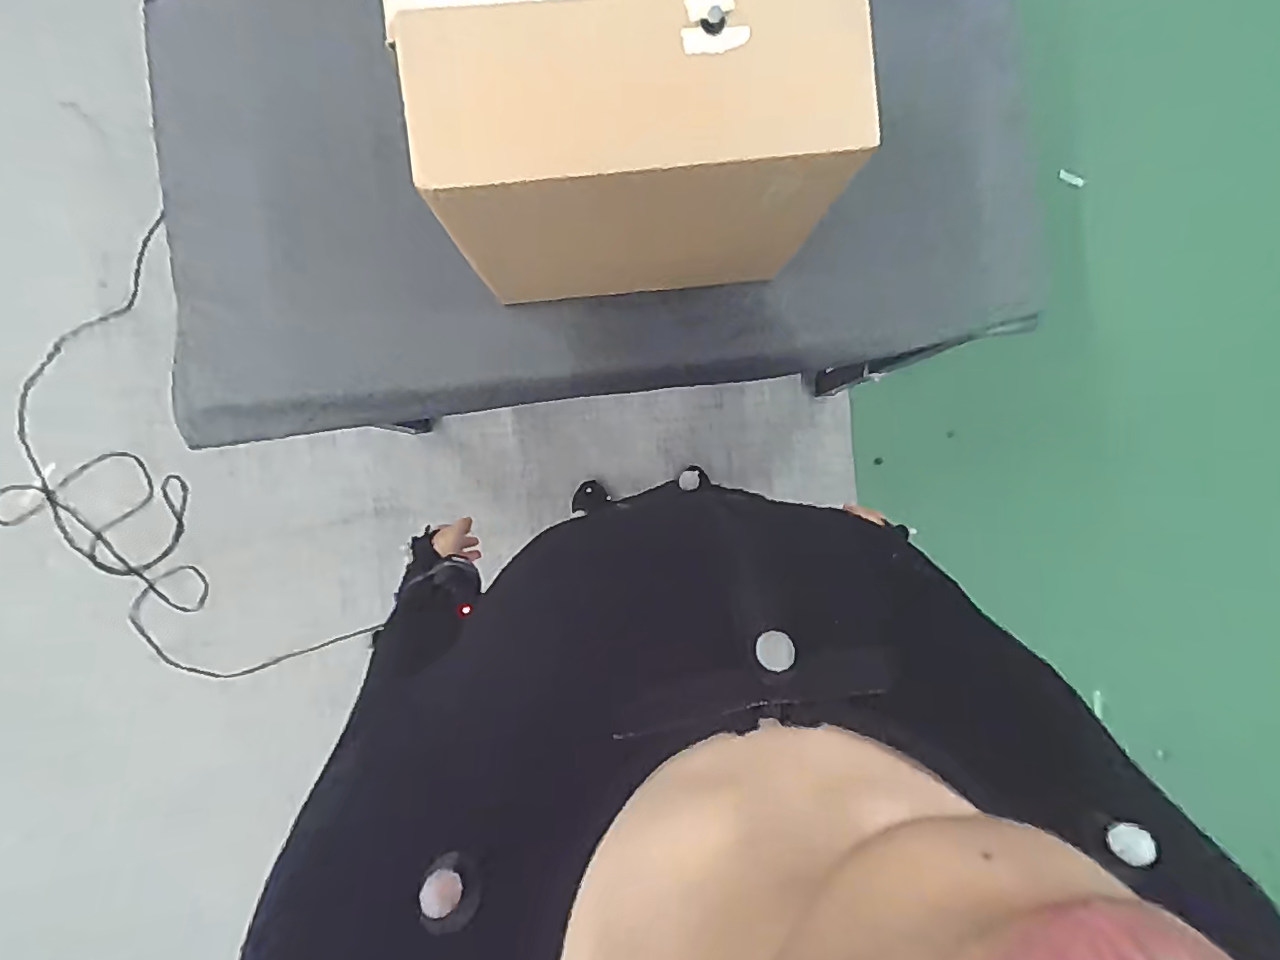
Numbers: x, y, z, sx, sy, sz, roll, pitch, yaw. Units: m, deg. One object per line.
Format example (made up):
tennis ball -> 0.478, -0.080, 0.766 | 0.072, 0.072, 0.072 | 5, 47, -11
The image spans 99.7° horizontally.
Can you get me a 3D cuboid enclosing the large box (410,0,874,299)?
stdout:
large box -> -0.010, -0.429, 0.625 | 0.408, 0.320, 0.320 | -7, 91, -2
